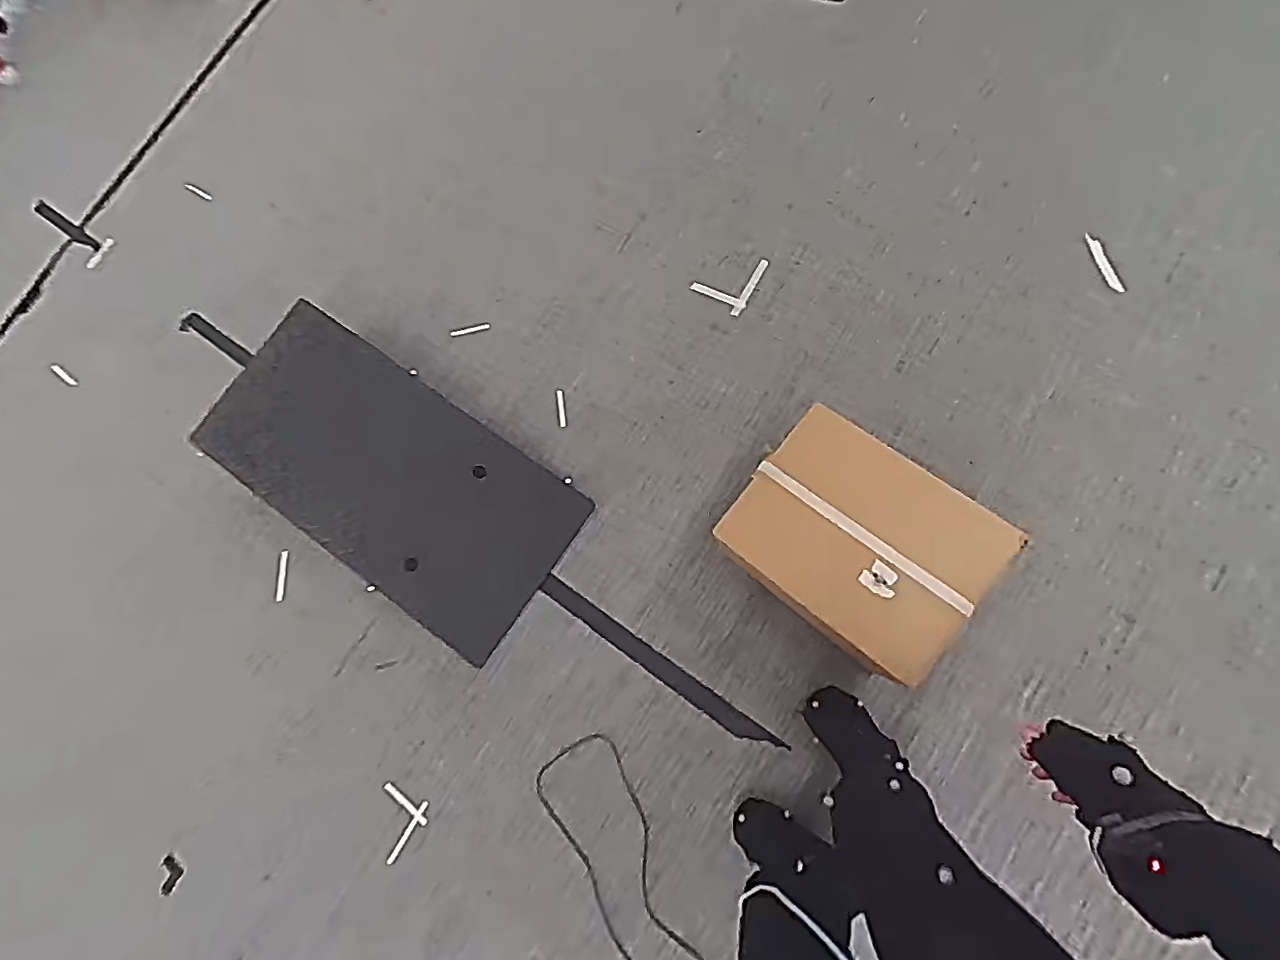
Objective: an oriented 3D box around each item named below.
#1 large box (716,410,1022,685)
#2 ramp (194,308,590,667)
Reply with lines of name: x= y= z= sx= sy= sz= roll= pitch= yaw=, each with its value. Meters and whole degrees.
large box: x=0.405 y=0.133 z=1.063 sx=0.408 sy=0.320 sz=0.320 roll=38 pitch=87 yaw=18
ramp: x=-0.659 y=-0.010 z=1.410 sx=0.991 sy=0.206 sz=0.509 roll=31 pitch=83 yaw=18
